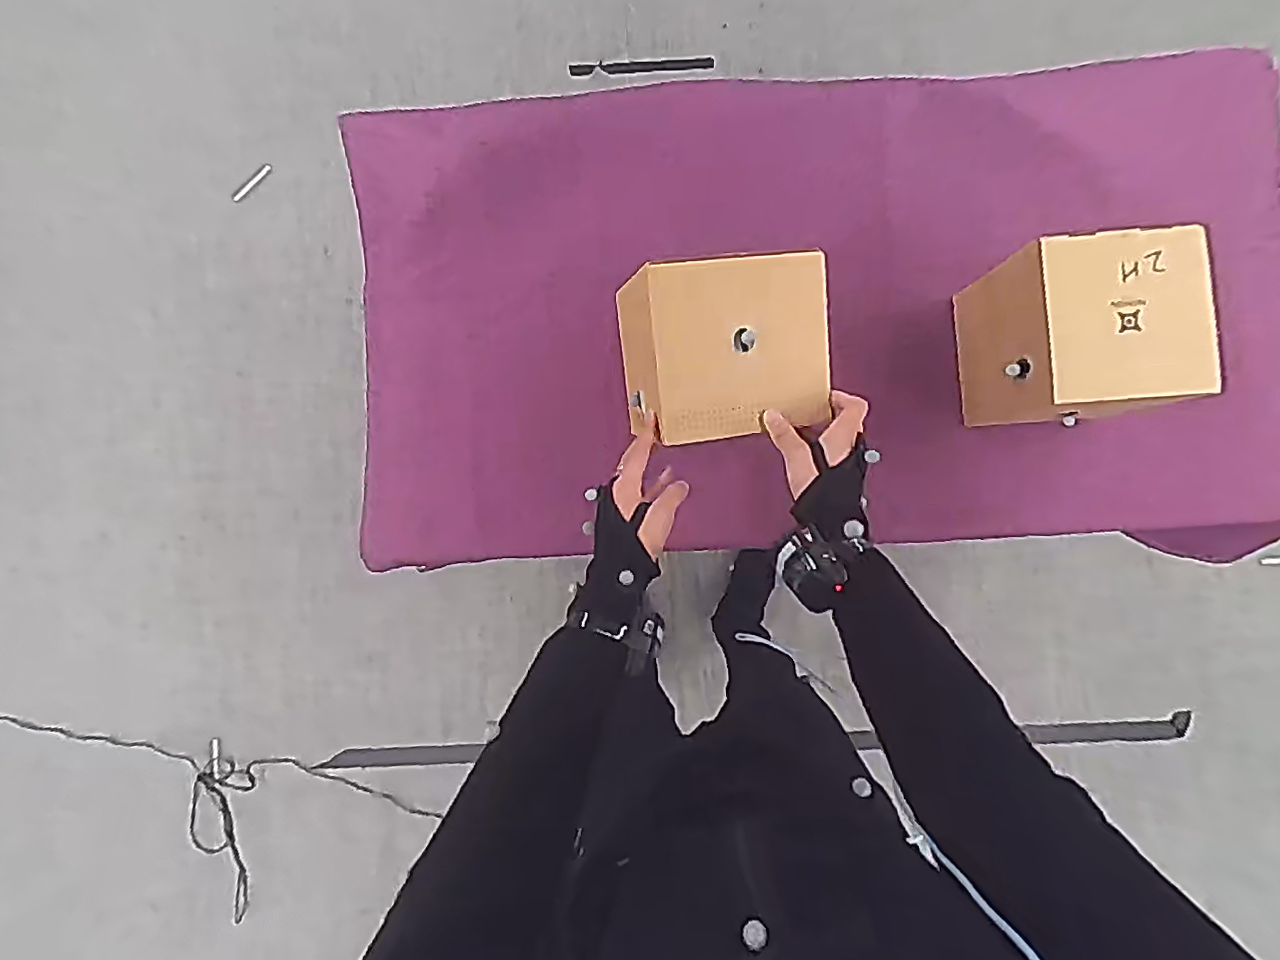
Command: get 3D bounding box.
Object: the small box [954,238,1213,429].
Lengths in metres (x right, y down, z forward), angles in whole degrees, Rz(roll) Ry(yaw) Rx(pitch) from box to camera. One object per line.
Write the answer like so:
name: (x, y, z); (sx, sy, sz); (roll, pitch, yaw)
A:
small box: (0.497, -0.155, 0.632); (0.168, 0.176, 0.179); (-3, 87, 2)
